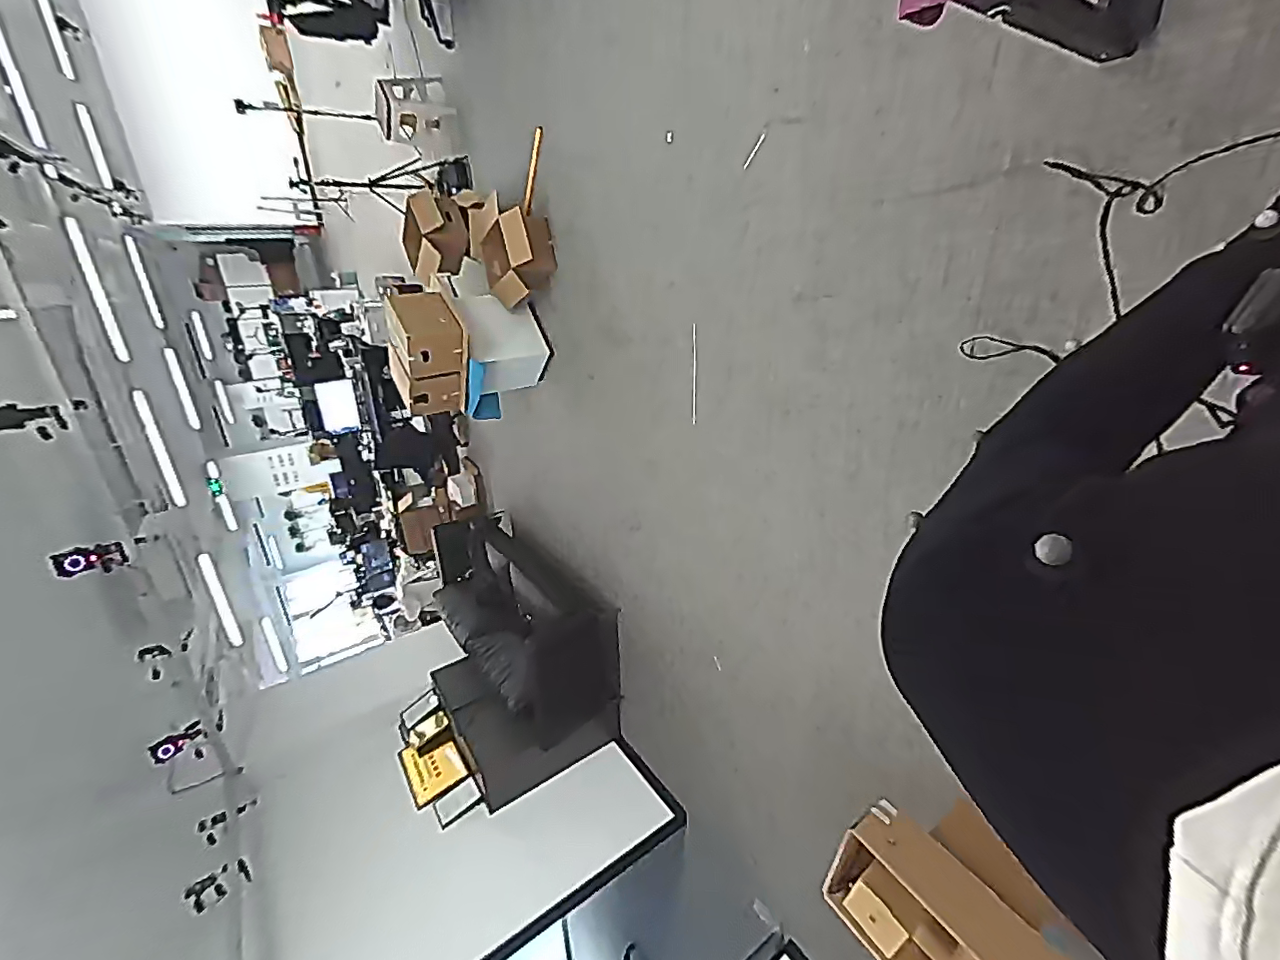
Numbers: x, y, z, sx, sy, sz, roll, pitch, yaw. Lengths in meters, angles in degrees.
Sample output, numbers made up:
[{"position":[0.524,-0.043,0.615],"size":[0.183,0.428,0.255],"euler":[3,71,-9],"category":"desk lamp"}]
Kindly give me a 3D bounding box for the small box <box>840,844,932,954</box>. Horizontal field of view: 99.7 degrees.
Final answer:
[{"position":[0.735,1.244,1.614],"size":[0.168,0.176,0.179],"euler":[39,134,41],"category":"small box"}]
